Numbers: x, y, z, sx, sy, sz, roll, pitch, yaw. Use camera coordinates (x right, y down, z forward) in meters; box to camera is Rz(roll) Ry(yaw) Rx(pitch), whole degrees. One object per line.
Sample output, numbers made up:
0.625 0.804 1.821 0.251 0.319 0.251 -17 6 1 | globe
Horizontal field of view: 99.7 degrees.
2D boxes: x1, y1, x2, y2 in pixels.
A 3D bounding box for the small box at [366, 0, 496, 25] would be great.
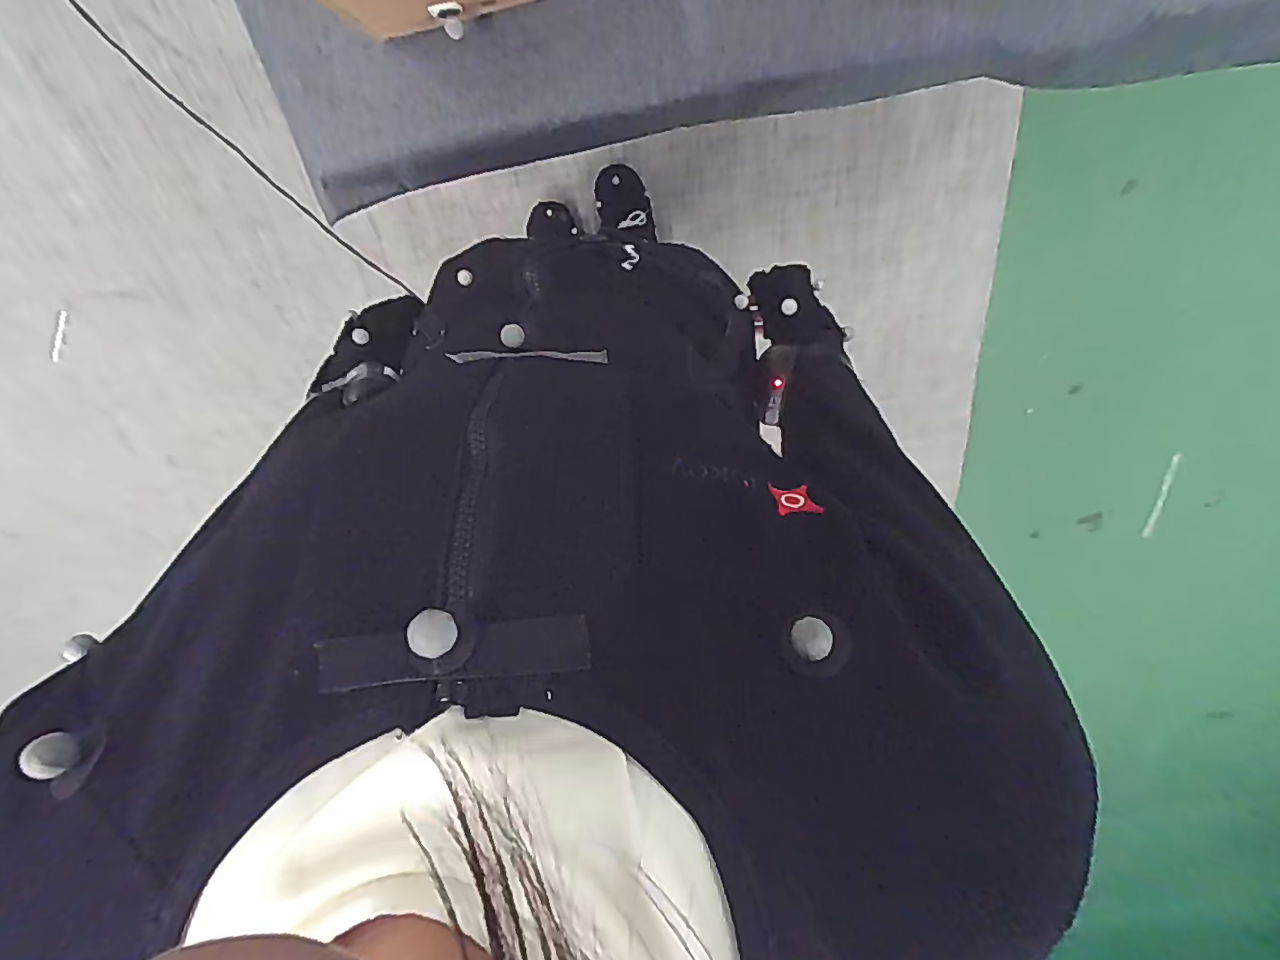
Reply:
-0.157 -0.448 0.359 0.168 0.176 0.179 -13 120 4 | small box
